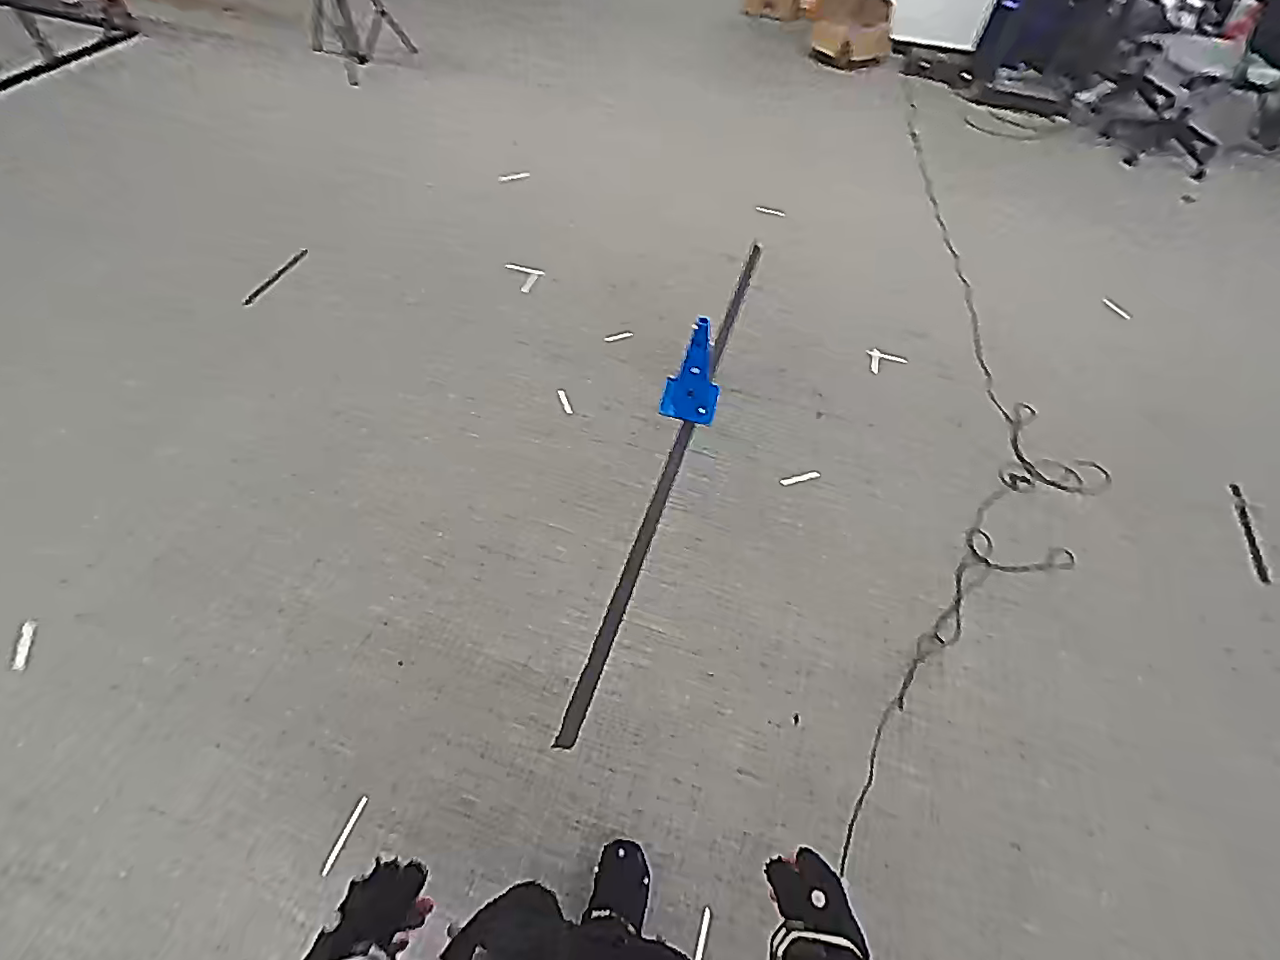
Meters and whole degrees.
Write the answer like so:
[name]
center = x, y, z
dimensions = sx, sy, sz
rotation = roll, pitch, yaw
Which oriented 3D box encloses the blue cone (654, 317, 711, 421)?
[blue cone]
center = 0.165, -0.389, 1.841
dimensions = 0.192, 0.380, 0.193
rotation = 14, 55, 7
